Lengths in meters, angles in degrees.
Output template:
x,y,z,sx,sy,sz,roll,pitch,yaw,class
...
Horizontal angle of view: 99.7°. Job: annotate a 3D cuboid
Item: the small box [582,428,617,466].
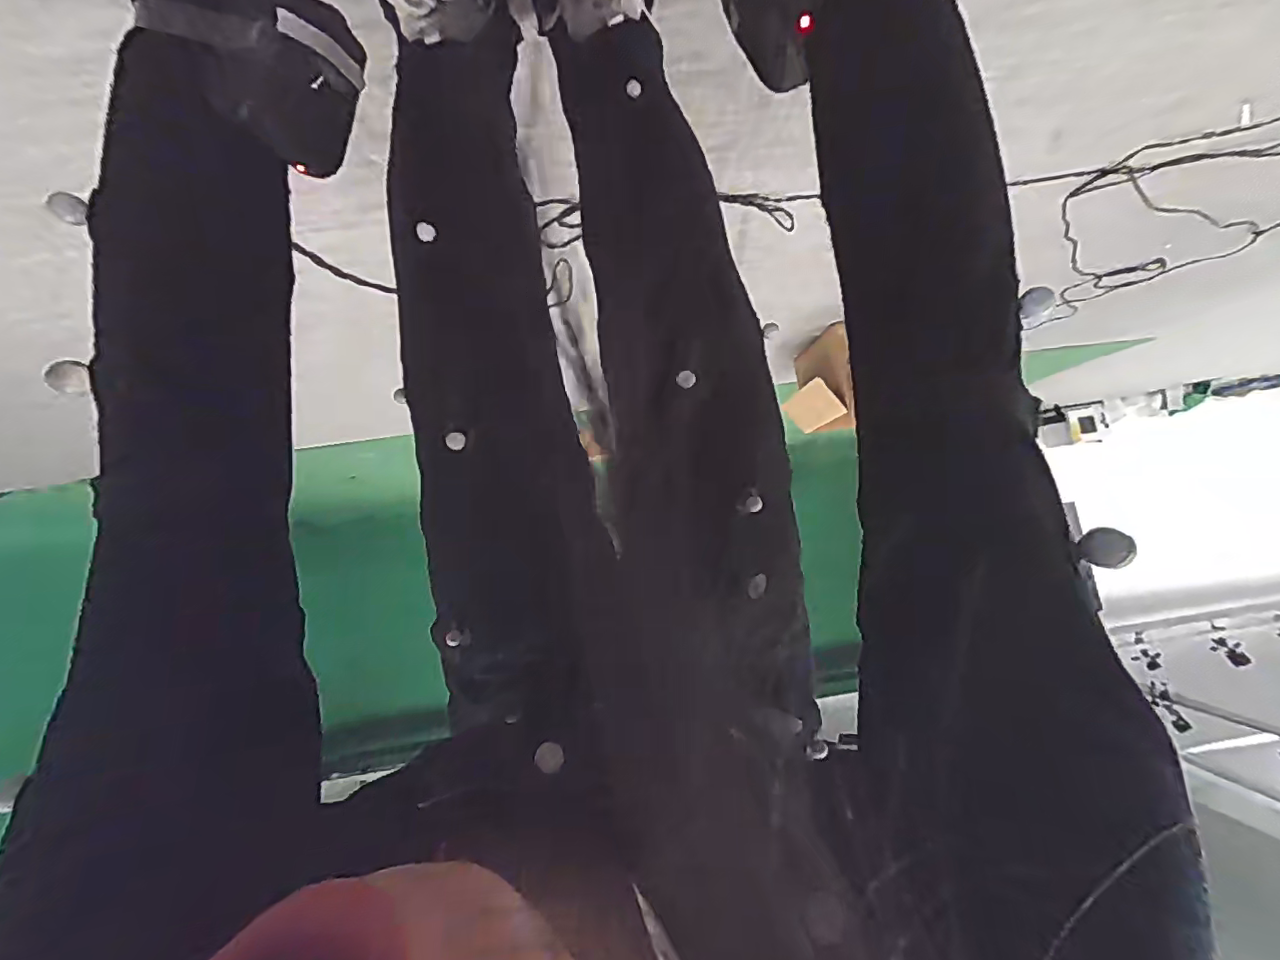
x,y,z,sx,sy,sz,roll,pitch,yaw,class
-0.227,-0.185,3.014,0.179,0.176,0.168,-10,175,-1,small box
